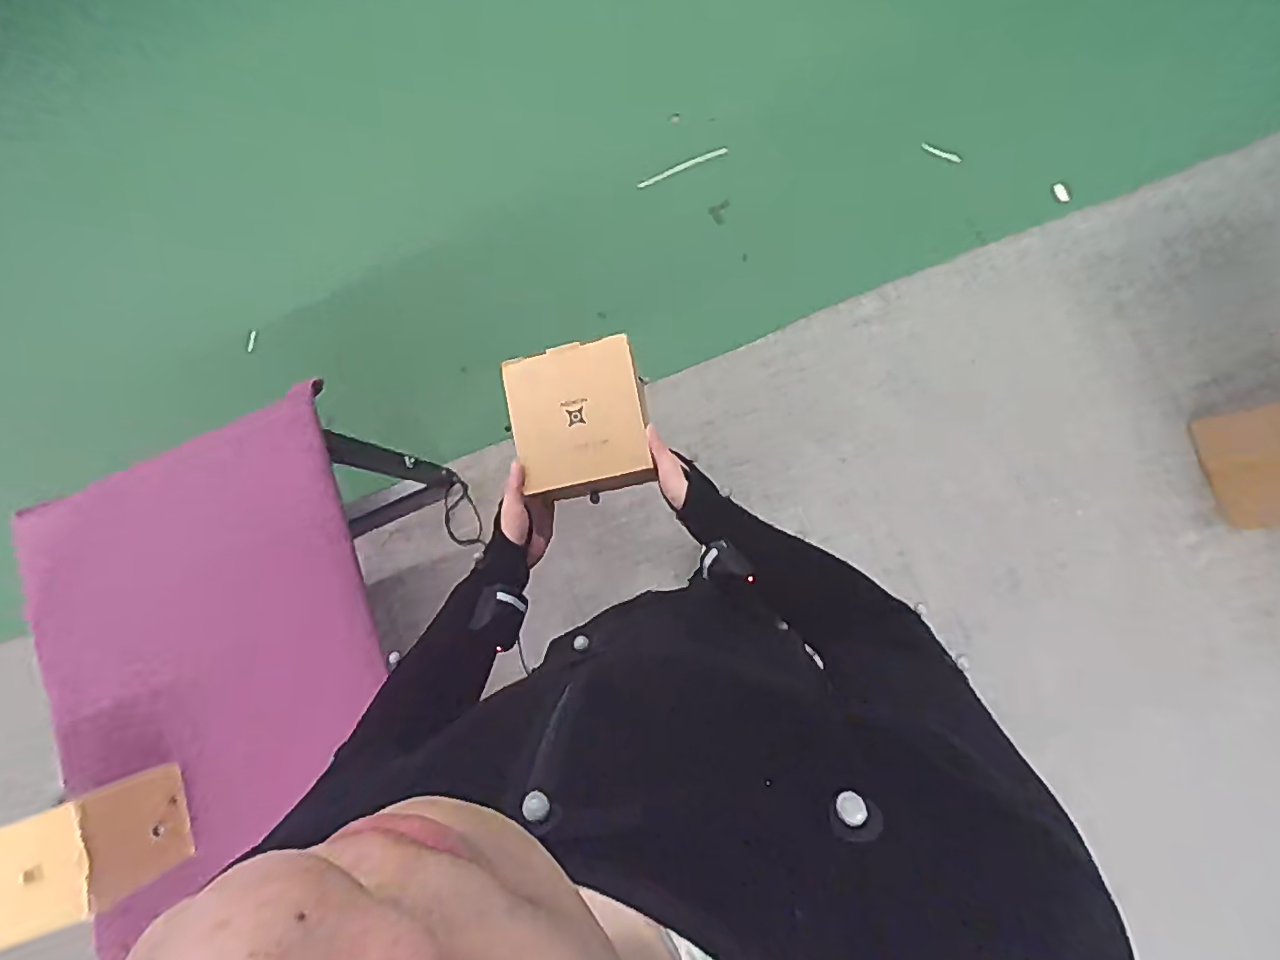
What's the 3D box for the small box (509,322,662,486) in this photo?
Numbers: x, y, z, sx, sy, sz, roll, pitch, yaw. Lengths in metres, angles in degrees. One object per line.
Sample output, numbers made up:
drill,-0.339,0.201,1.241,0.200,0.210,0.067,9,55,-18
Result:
small box,-0.067,-0.094,0.755,0.168,0.176,0.179,-11,85,6
